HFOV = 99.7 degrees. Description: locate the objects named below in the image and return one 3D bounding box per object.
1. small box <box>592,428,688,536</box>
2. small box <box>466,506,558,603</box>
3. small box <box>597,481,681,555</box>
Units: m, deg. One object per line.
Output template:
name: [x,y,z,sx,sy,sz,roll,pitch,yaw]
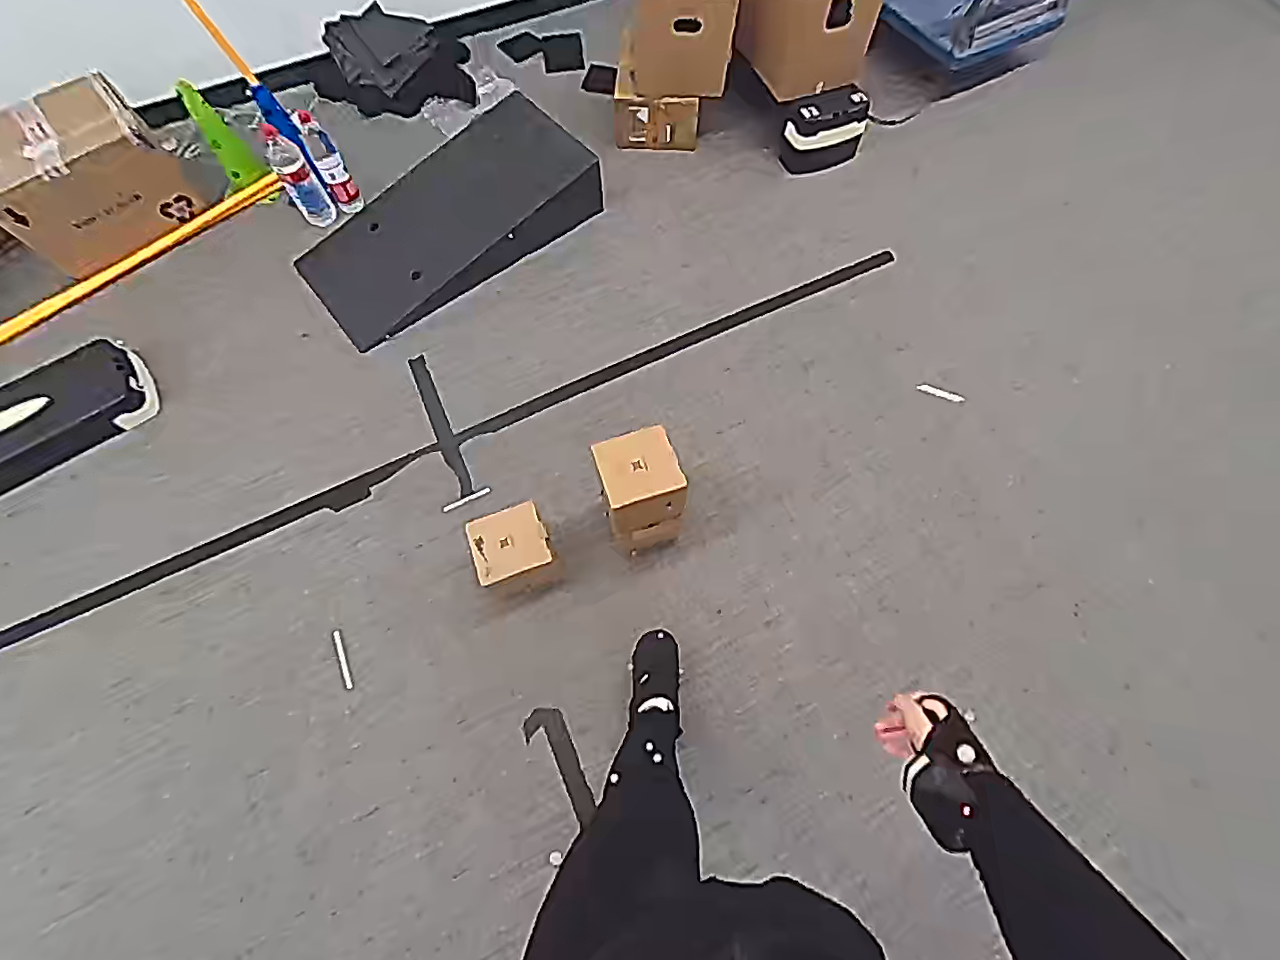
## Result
small box: [-0.002,0.009,1.250,0.179,0.176,0.168,-17,66,-7]
small box: [-0.311,0.189,1.348,0.179,0.176,0.168,-19,67,-9]
small box: [-0.001,0.081,1.396,0.168,0.176,0.179,-18,66,-8]
